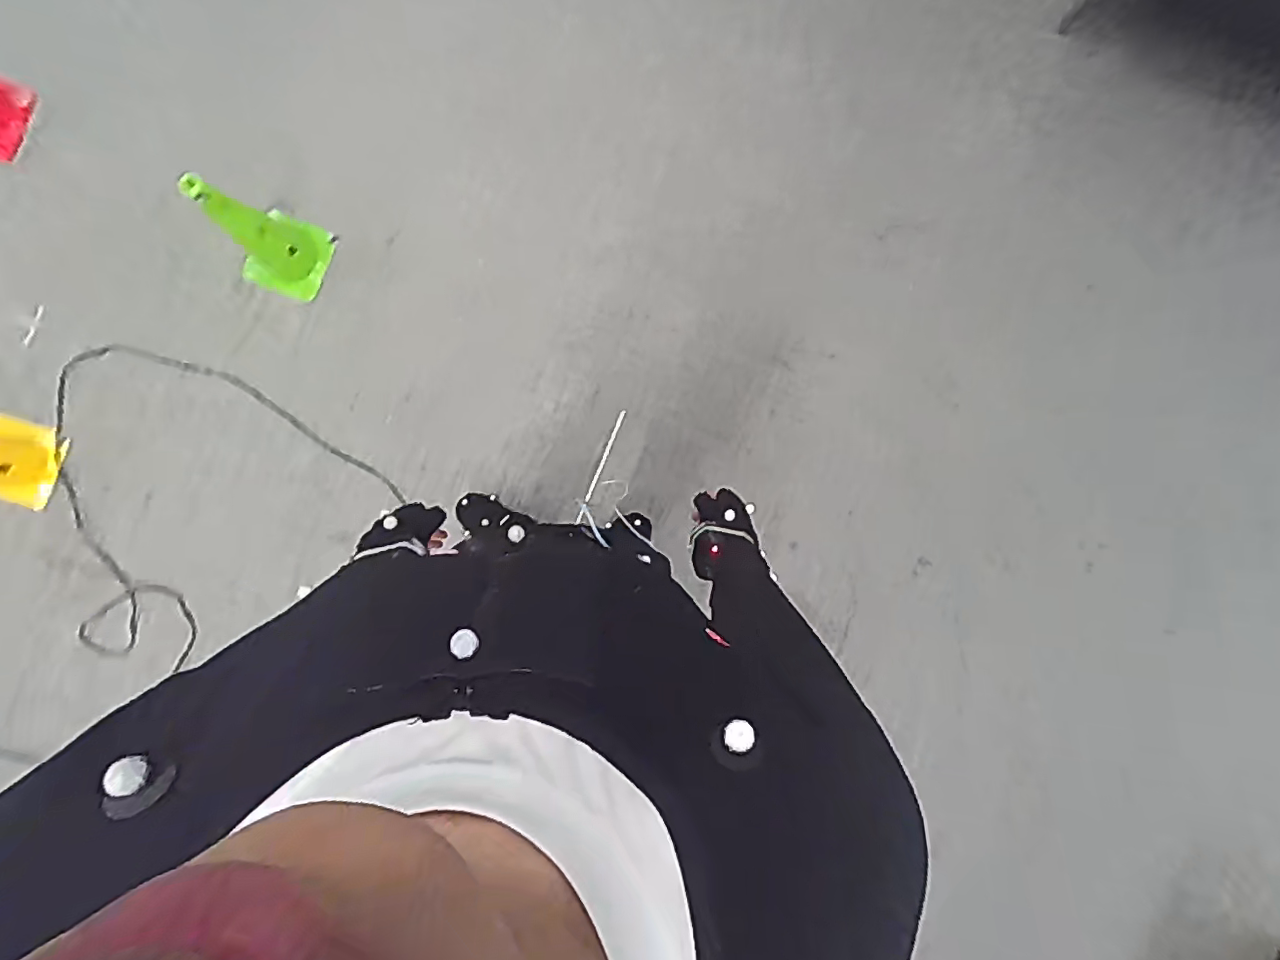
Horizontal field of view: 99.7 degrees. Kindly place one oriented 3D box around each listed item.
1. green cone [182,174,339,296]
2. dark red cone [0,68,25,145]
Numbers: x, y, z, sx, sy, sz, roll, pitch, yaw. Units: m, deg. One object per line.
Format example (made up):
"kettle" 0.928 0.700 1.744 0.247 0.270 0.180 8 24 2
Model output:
"green cone" -0.925 -0.614 1.282 0.200 0.368 0.202 21 90 -2
"dark red cone" -1.692 -0.971 1.223 0.201 0.394 0.202 17 89 -1
